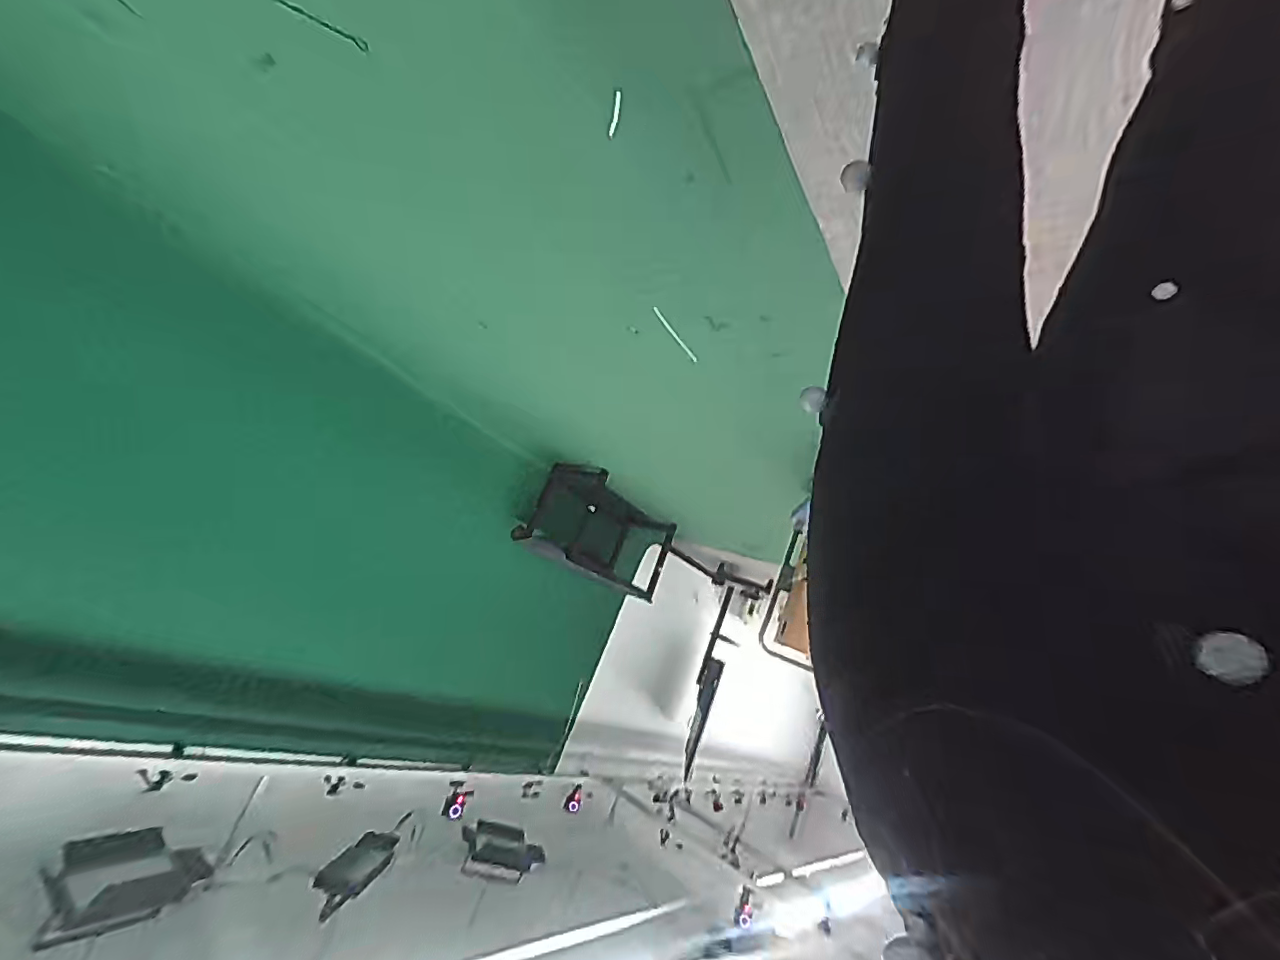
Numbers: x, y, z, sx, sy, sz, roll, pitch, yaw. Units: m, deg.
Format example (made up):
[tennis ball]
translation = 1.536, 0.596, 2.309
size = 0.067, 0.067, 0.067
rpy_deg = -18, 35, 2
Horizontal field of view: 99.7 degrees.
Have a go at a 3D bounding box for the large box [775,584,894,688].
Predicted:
[large box]
translation = 0.883, 0.702, 2.487
size = 0.408, 0.320, 0.320
rpy_deg = 22, 170, 10
